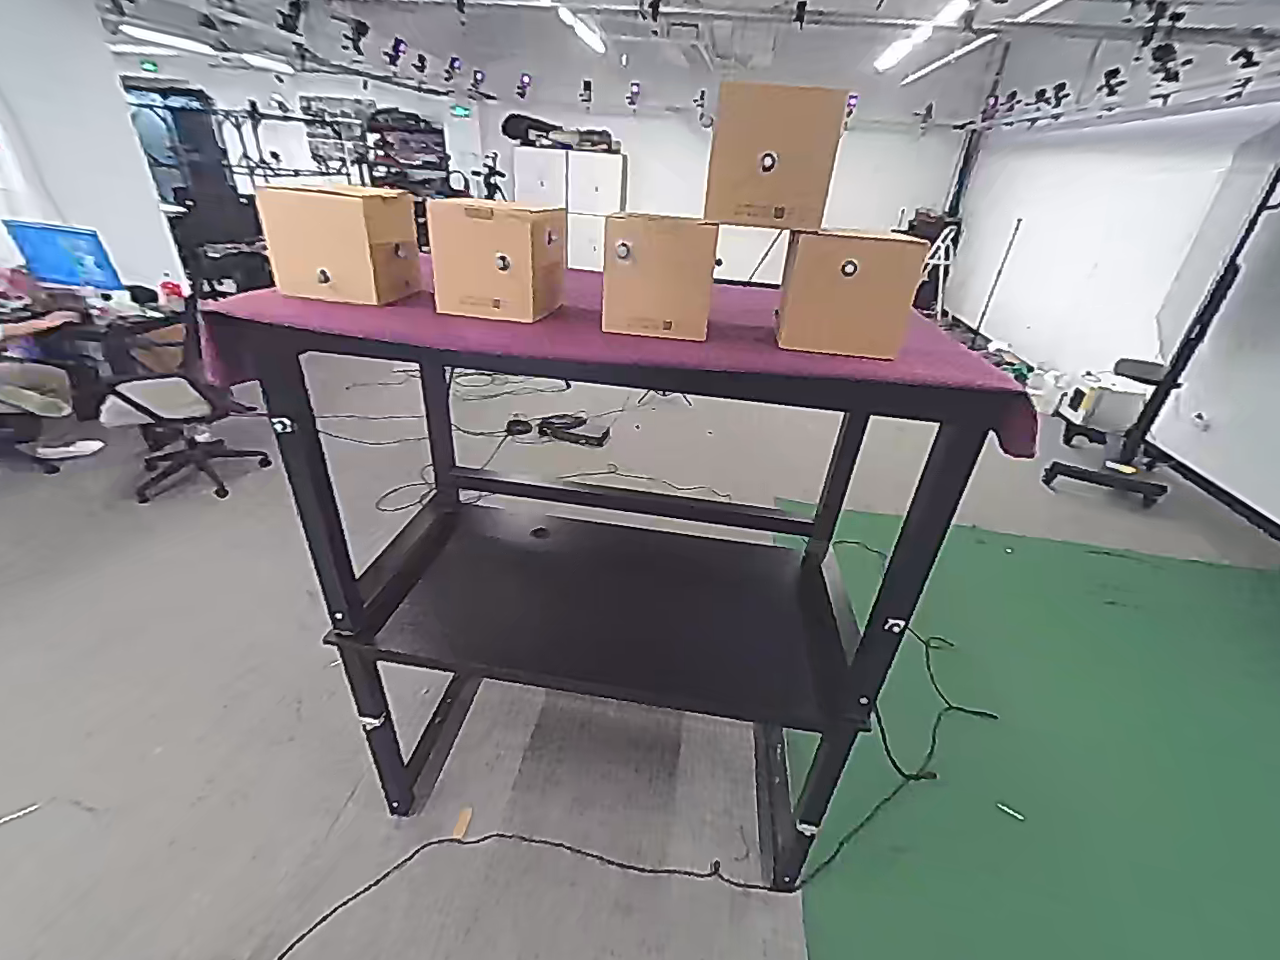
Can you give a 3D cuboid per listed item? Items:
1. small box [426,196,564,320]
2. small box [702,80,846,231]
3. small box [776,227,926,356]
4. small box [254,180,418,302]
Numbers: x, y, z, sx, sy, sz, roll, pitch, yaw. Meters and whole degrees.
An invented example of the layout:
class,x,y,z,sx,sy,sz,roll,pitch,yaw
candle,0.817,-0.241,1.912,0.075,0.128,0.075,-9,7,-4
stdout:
class,x,y,z,sx,sy,sz,roll,pitch,yaw
small box,-0.230,-0.373,0.905,0.168,0.176,0.179,9,28,6
small box,0.185,-0.465,0.793,0.168,0.176,0.179,7,28,4
small box,0.316,-0.300,0.854,0.179,0.176,0.168,8,29,6
small box,-0.500,-0.408,0.924,0.179,0.176,0.168,7,29,3
